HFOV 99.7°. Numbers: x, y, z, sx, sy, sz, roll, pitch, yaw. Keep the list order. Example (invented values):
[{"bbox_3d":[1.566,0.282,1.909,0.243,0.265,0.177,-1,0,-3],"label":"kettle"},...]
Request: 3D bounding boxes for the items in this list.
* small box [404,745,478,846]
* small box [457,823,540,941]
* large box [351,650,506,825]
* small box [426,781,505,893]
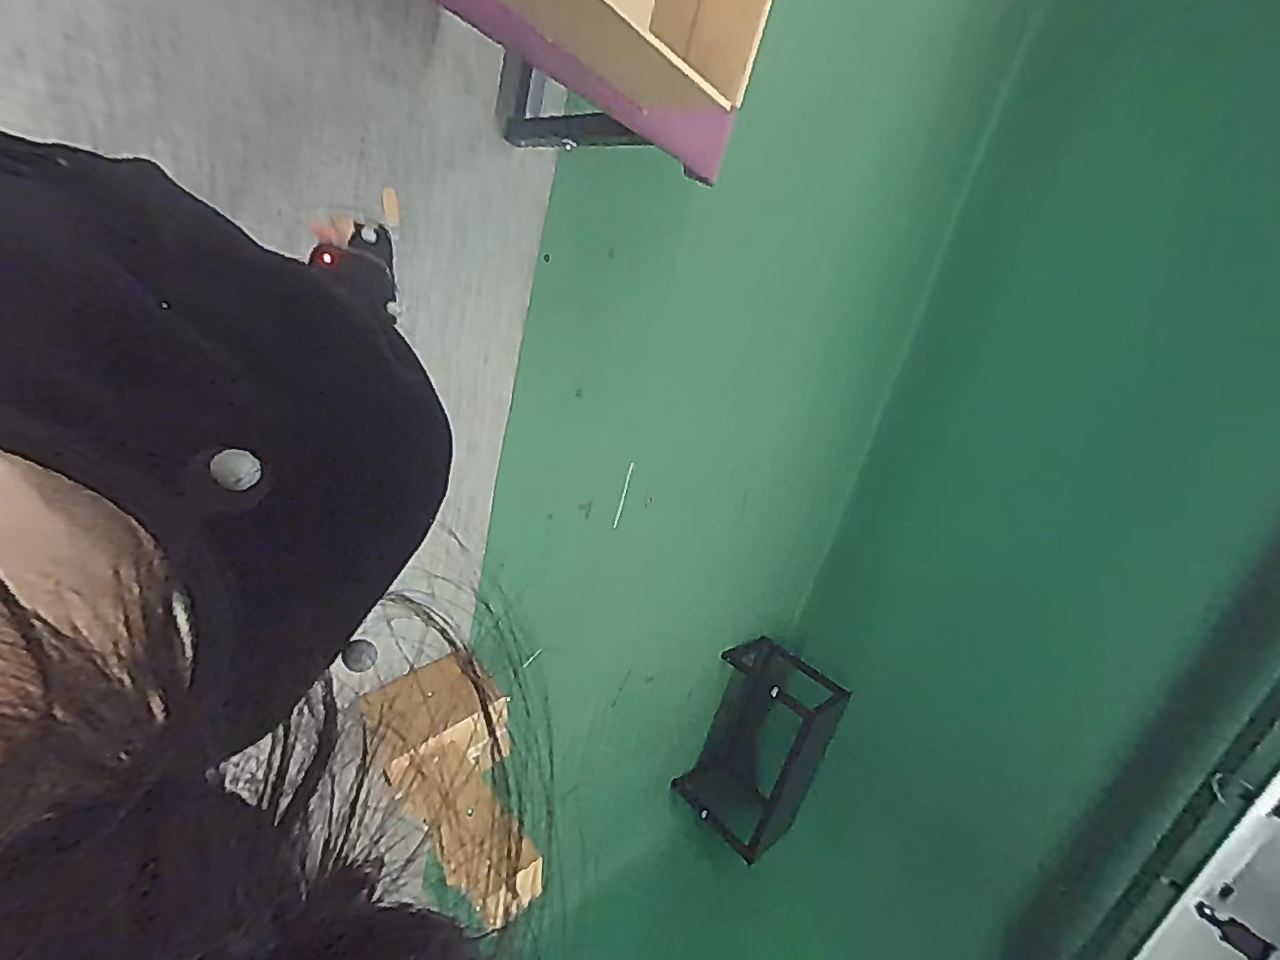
[{"bbox_3d":[-0.628,0.983,1.697,0.179,0.176,0.168,-15,122,-42],"label":"small box"},{"bbox_3d":[-0.393,1.099,1.500,0.168,0.176,0.179,-18,125,-41],"label":"small box"},{"bbox_3d":[-0.736,0.887,1.913,0.408,0.320,0.320,-21,127,-41],"label":"large box"},{"bbox_3d":[-0.515,1.043,1.593,0.179,0.176,0.168,-21,126,-41],"label":"small box"}]
